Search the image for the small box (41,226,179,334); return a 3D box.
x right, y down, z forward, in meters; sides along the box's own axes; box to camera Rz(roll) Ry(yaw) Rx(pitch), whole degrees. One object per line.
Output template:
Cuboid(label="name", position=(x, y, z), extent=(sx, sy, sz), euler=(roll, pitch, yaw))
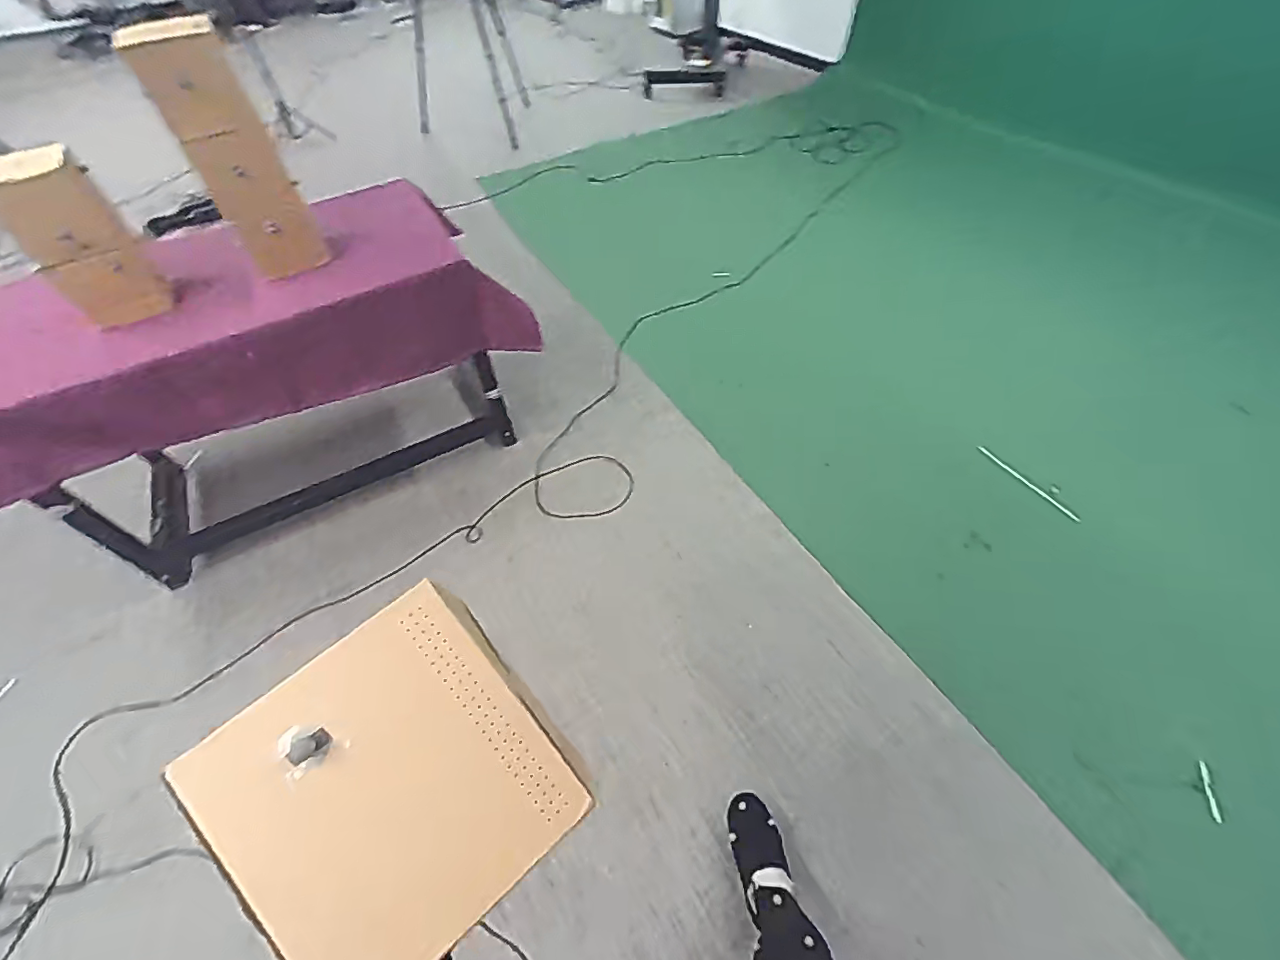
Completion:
Cuboid(label="small box", position=(-1.283, -0.485, 1.321), extent=(0.179, 0.176, 0.168), euler=(-27, 55, -18))

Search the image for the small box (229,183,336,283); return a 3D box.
Cuboid(label="small box", position=(-0.942, -0.648, 1.425), extent=(0.179, 0.176, 0.168), euler=(-25, 55, -16))

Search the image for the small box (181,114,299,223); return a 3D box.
Cuboid(label="small box", position=(-0.952, -0.750, 1.297), extent=(0.179, 0.176, 0.168), euler=(-27, 55, -16))

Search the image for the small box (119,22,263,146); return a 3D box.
Cuboid(label="small box", position=(-0.963, -0.853, 1.169), extent=(0.179, 0.176, 0.168), euler=(-28, 56, -16))

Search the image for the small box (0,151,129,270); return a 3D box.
Cuboid(label="small box", position=(-1.287, -0.594, 1.197), extent=(0.168, 0.176, 0.179), euler=(-27, 55, -17))
